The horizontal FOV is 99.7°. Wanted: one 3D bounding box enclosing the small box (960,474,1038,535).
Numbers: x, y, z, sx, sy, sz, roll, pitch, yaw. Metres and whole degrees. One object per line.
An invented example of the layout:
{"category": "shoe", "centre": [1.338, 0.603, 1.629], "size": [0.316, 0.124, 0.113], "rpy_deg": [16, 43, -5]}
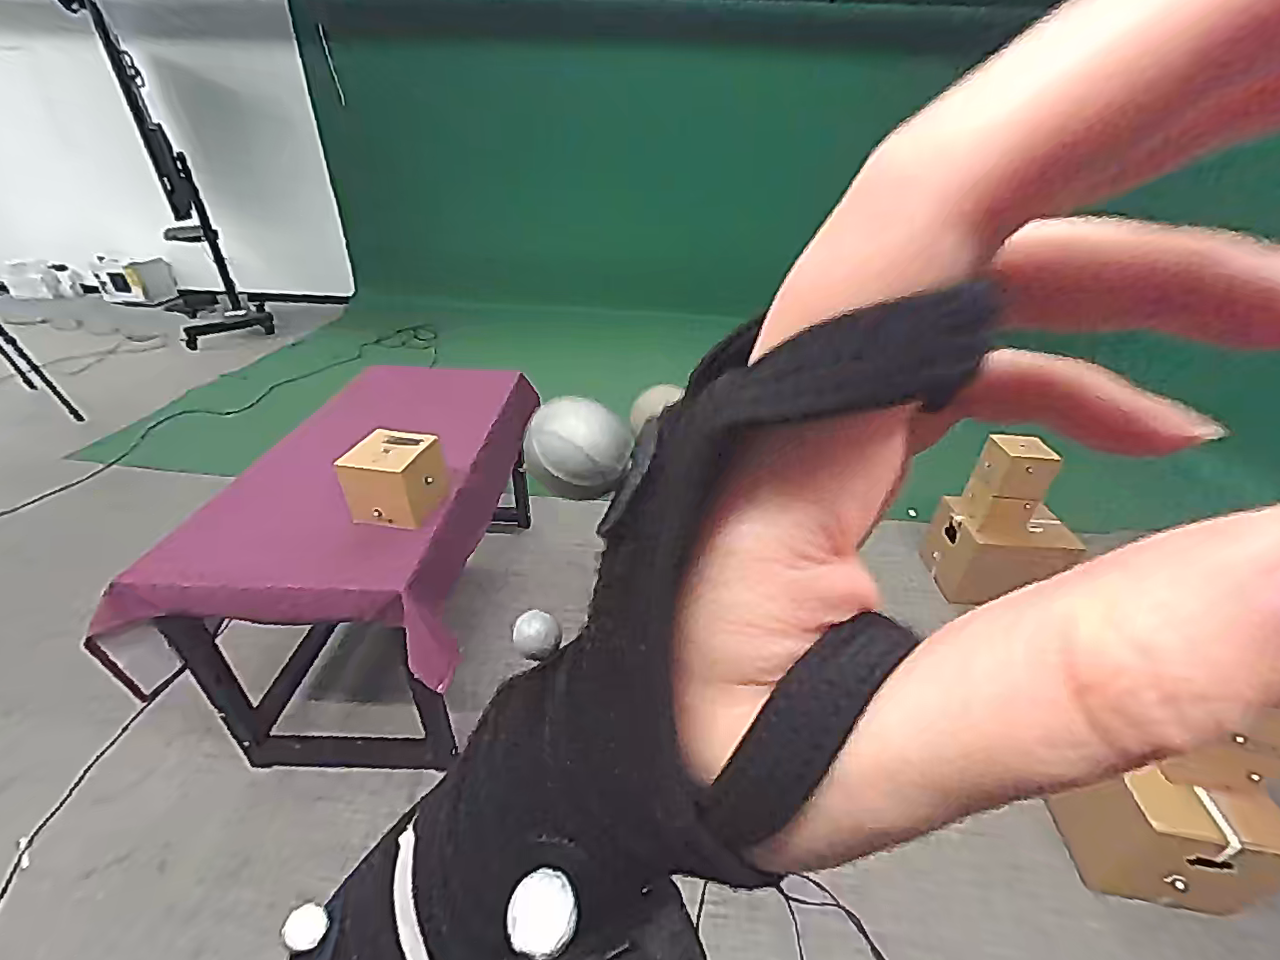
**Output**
{"category": "small box", "centre": [1.349, 0.093, 2.051], "size": [0.179, 0.176, 0.168], "rpy_deg": [5, 33, 3]}

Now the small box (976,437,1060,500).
{"category": "small box", "centre": [1.352, -0.042, 1.955], "size": [0.179, 0.176, 0.168], "rpy_deg": [5, 33, 3]}

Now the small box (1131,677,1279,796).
{"category": "small box", "centre": [1.317, 0.599, 1.260], "size": [0.168, 0.176, 0.179], "rpy_deg": [10, 33, 9]}

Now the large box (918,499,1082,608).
{"category": "large box", "centre": [1.428, 0.297, 2.190], "size": [0.408, 0.320, 0.320], "rpy_deg": [4, 33, 1]}
